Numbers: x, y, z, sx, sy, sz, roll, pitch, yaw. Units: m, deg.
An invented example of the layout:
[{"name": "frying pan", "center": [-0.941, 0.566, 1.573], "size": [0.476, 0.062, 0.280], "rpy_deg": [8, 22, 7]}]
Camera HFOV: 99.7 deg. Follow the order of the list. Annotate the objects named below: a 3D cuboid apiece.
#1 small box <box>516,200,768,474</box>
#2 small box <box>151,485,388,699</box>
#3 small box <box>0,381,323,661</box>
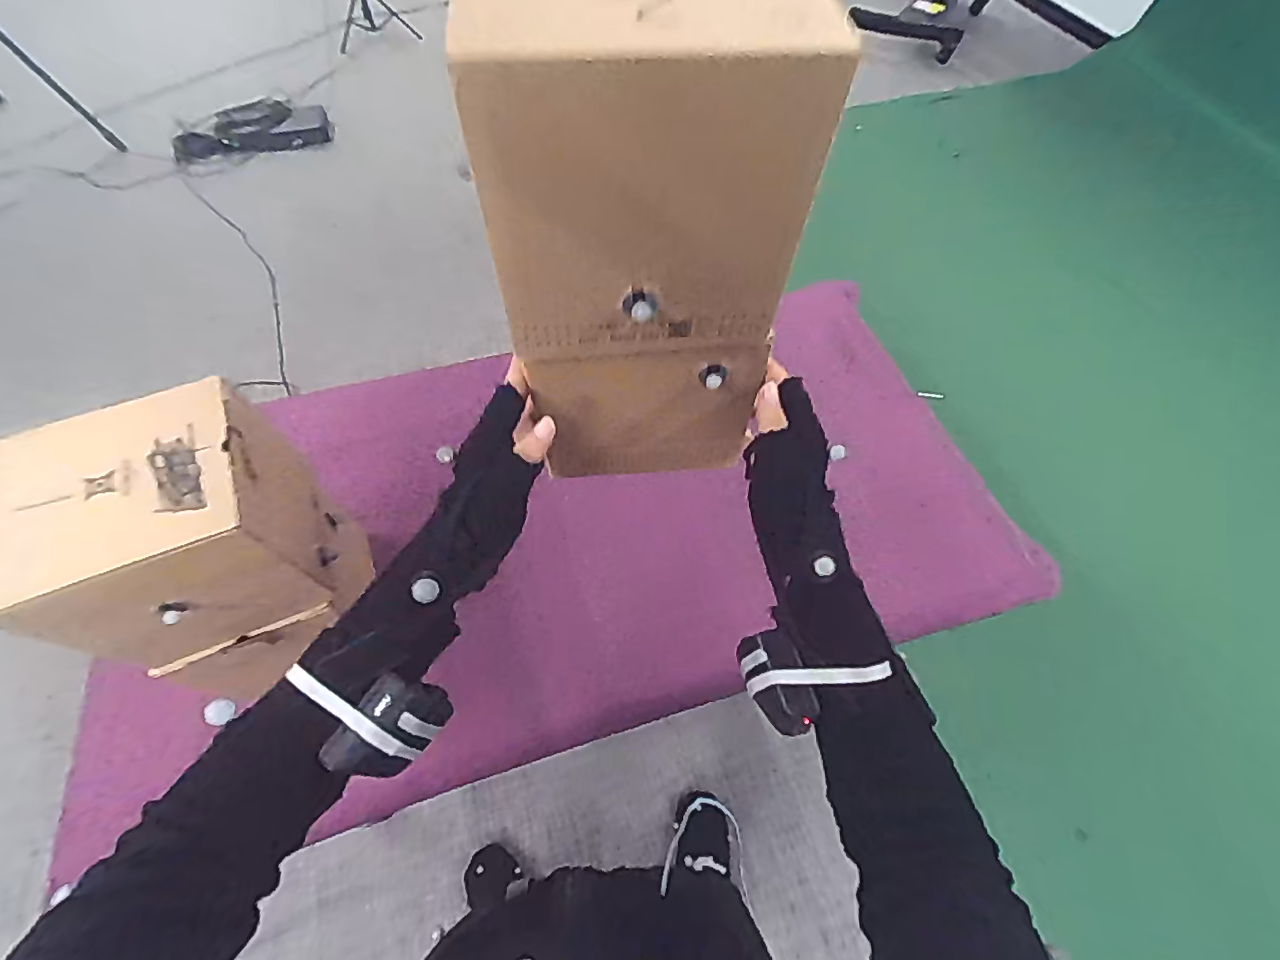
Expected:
[{"name": "small box", "center": [-0.003, -0.116, 0.475], "size": [0.179, 0.176, 0.168], "rpy_deg": [-4, 59, -3]}, {"name": "small box", "center": [-0.422, 0.132, 0.636], "size": [0.168, 0.176, 0.179], "rpy_deg": [-21, 63, -12]}, {"name": "small box", "center": [-0.416, 0.043, 0.495], "size": [0.179, 0.176, 0.168], "rpy_deg": [-19, 60, -12]}]
